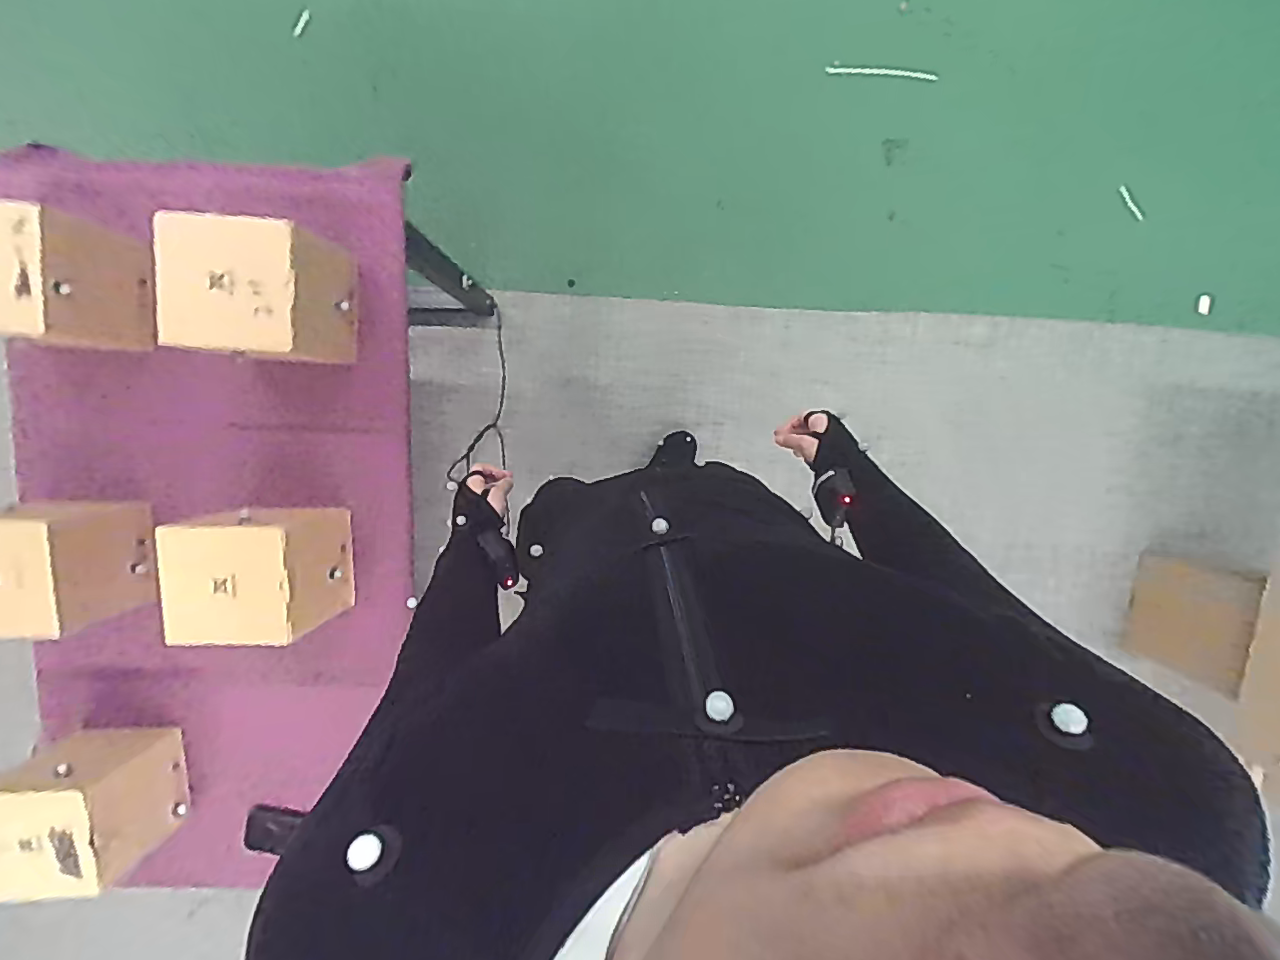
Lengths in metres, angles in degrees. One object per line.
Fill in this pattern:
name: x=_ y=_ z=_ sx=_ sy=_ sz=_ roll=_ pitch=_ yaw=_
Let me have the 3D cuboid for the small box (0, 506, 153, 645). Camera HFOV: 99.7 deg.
small box: x=-0.883 y=0.132 z=0.800 sx=0.179 sy=0.176 sz=0.168 roll=1 pitch=96 yaw=-2

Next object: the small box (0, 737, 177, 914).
small box: x=-0.862 y=0.519 z=0.834 sx=0.179 sy=0.176 sz=0.168 roll=-3 pitch=95 yaw=0

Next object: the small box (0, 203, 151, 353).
small box: x=-0.851 y=-0.276 z=0.762 sx=0.179 sy=0.176 sz=0.168 roll=4 pitch=96 yaw=-1

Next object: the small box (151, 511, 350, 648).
small box: x=-0.565 y=0.140 z=0.805 sx=0.179 sy=0.176 sz=0.168 roll=-1 pitch=95 yaw=0

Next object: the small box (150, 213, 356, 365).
small box: x=-0.534 y=-0.257 z=0.765 sx=0.179 sy=0.176 sz=0.168 roll=4 pitch=97 yaw=-1
